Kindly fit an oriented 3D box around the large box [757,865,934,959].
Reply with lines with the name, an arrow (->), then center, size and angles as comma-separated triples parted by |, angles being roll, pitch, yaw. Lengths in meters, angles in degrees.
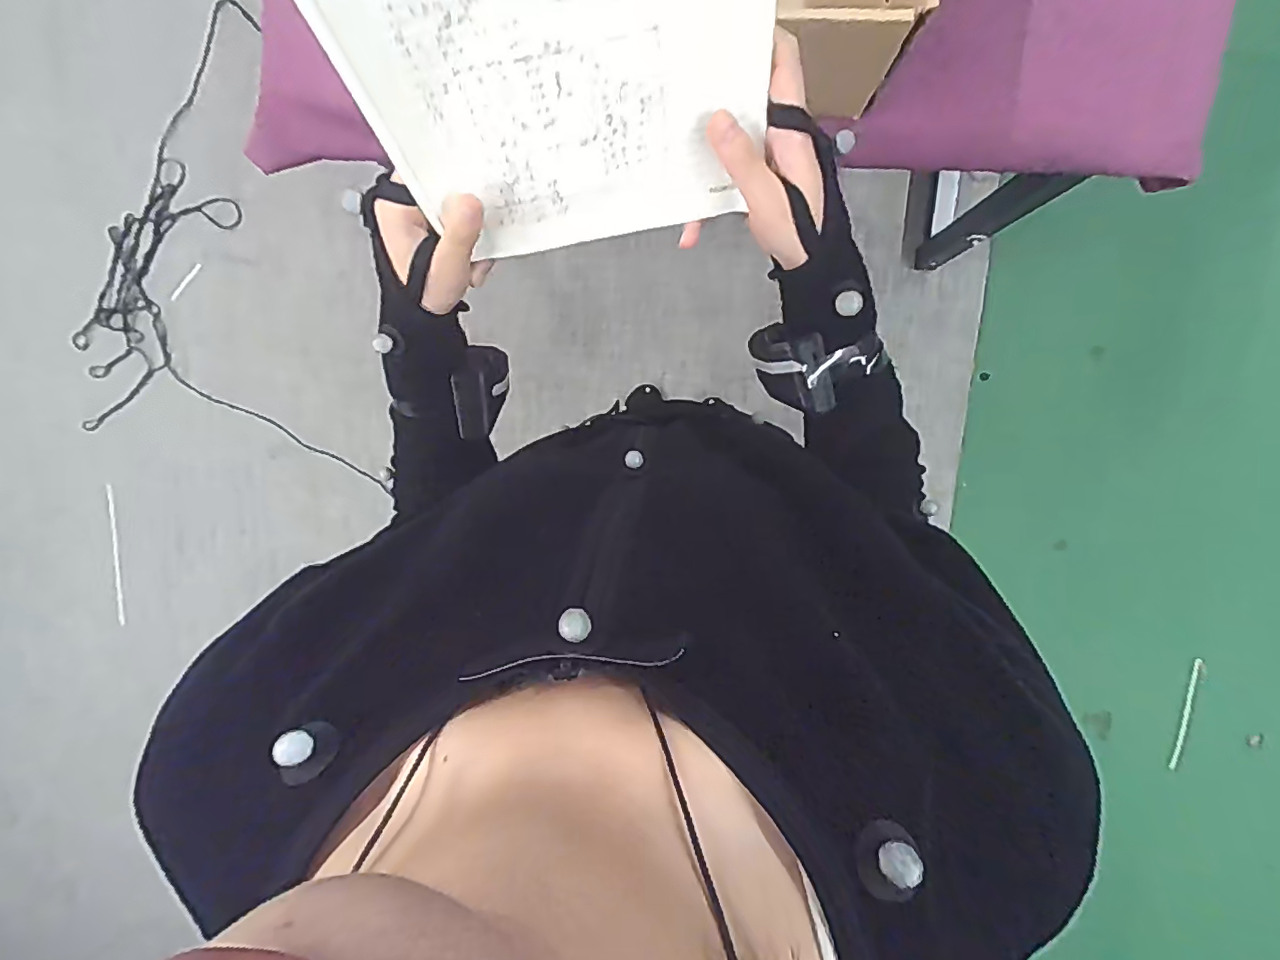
large box -> 0.566, 1.339, 1.491 | 0.408, 0.320, 0.320 | -10, 98, 6
